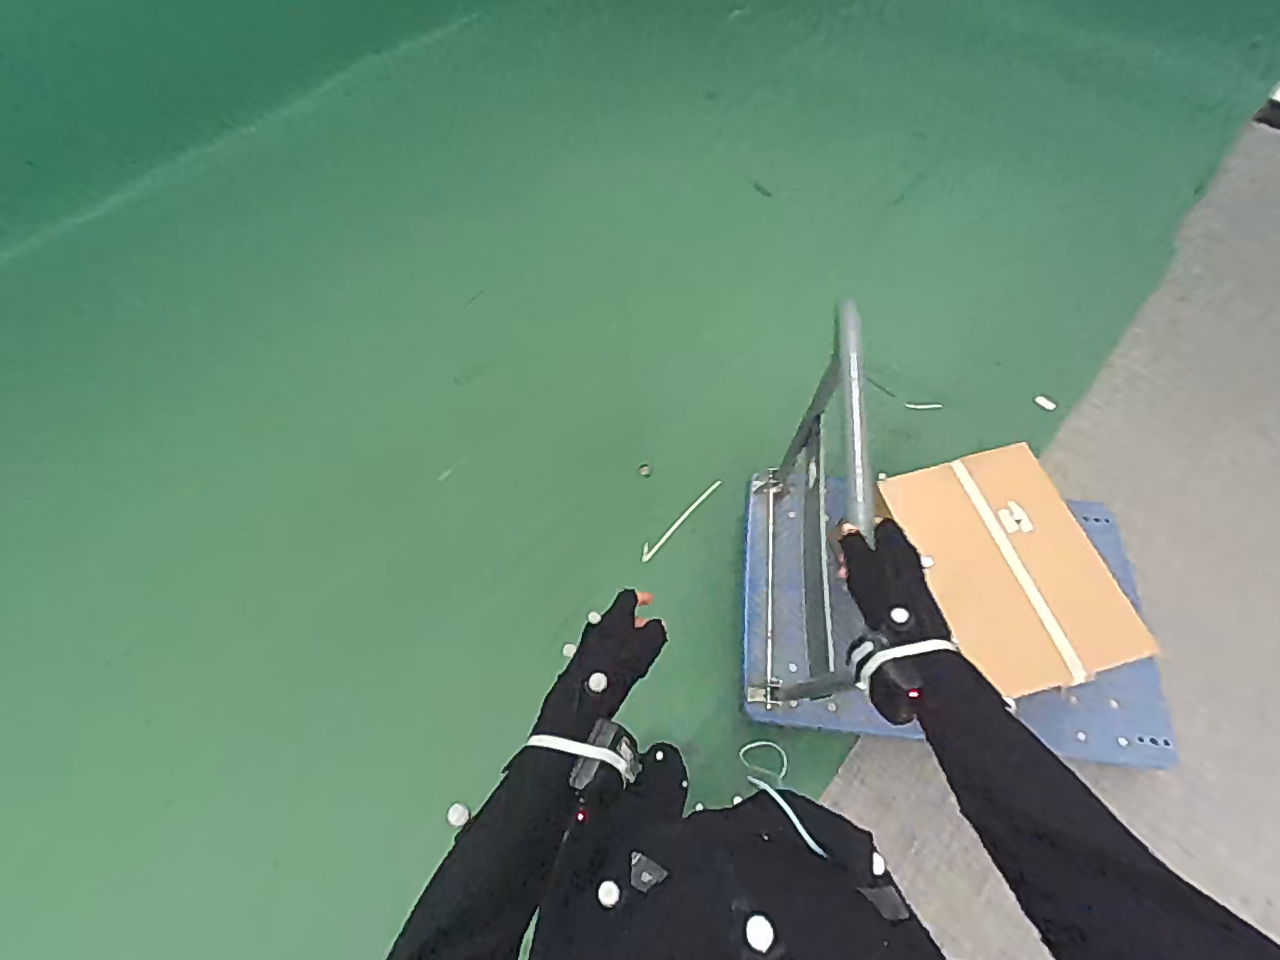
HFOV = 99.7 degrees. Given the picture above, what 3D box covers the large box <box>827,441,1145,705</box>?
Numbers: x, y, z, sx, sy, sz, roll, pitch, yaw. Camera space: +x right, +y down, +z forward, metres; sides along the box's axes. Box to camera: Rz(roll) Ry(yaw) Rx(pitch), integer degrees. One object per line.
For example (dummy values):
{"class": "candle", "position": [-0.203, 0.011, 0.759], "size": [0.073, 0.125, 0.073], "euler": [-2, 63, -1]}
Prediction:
{"class": "large box", "position": [0.635, 0.197, 1.087], "size": [0.320, 0.320, 0.408], "euler": [-15, 65, -6]}
